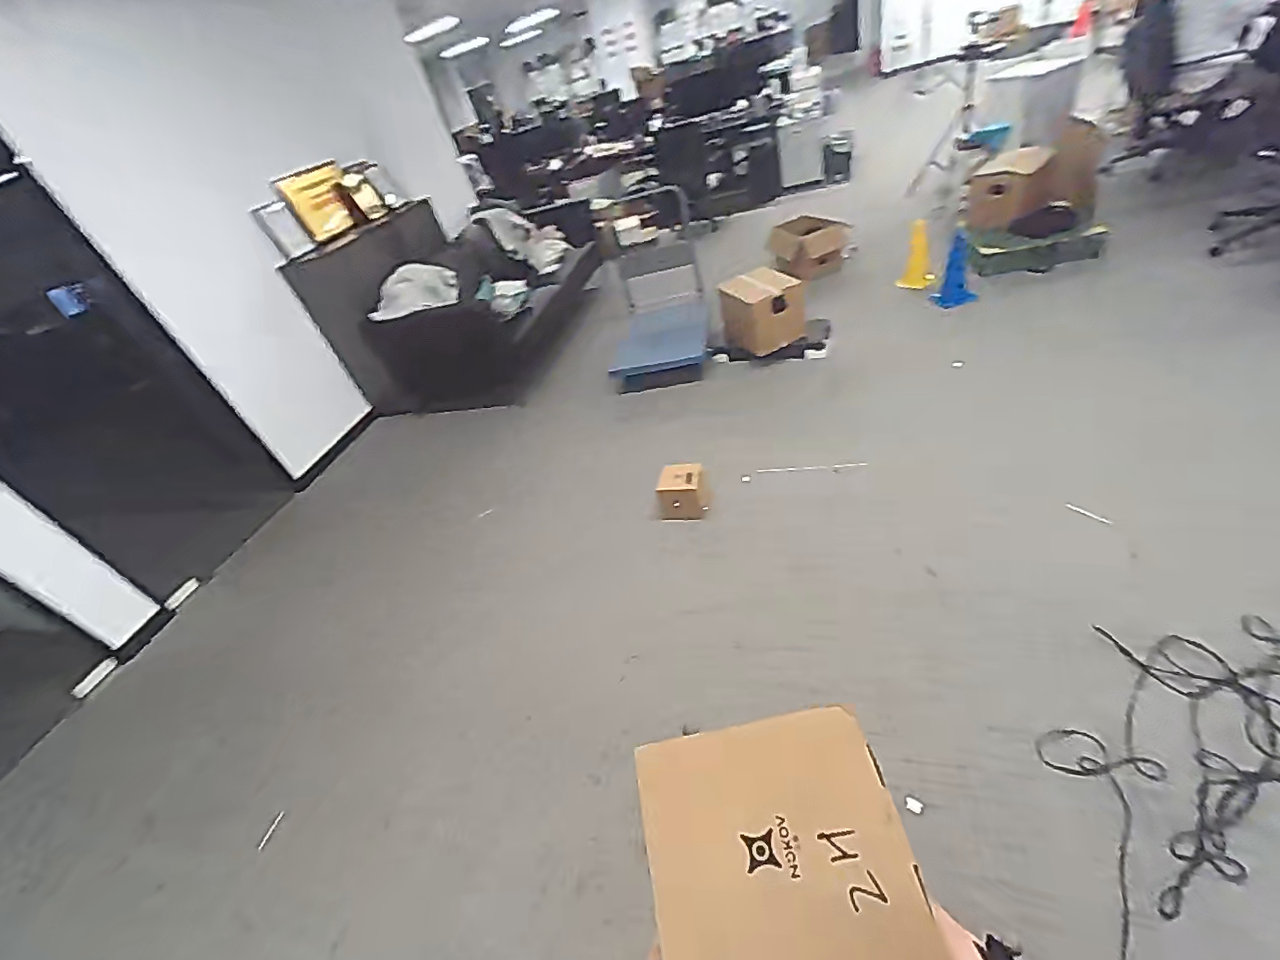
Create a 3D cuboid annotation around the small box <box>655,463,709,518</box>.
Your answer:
[{"bbox_3d":[0.182,0.048,2.267,0.179,0.176,0.168,-3,40,22],"label":"small box"}]

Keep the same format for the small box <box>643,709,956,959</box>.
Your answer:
[{"bbox_3d":[0.111,0.300,0.429,0.179,0.176,0.168,-13,54,4],"label":"small box"}]
